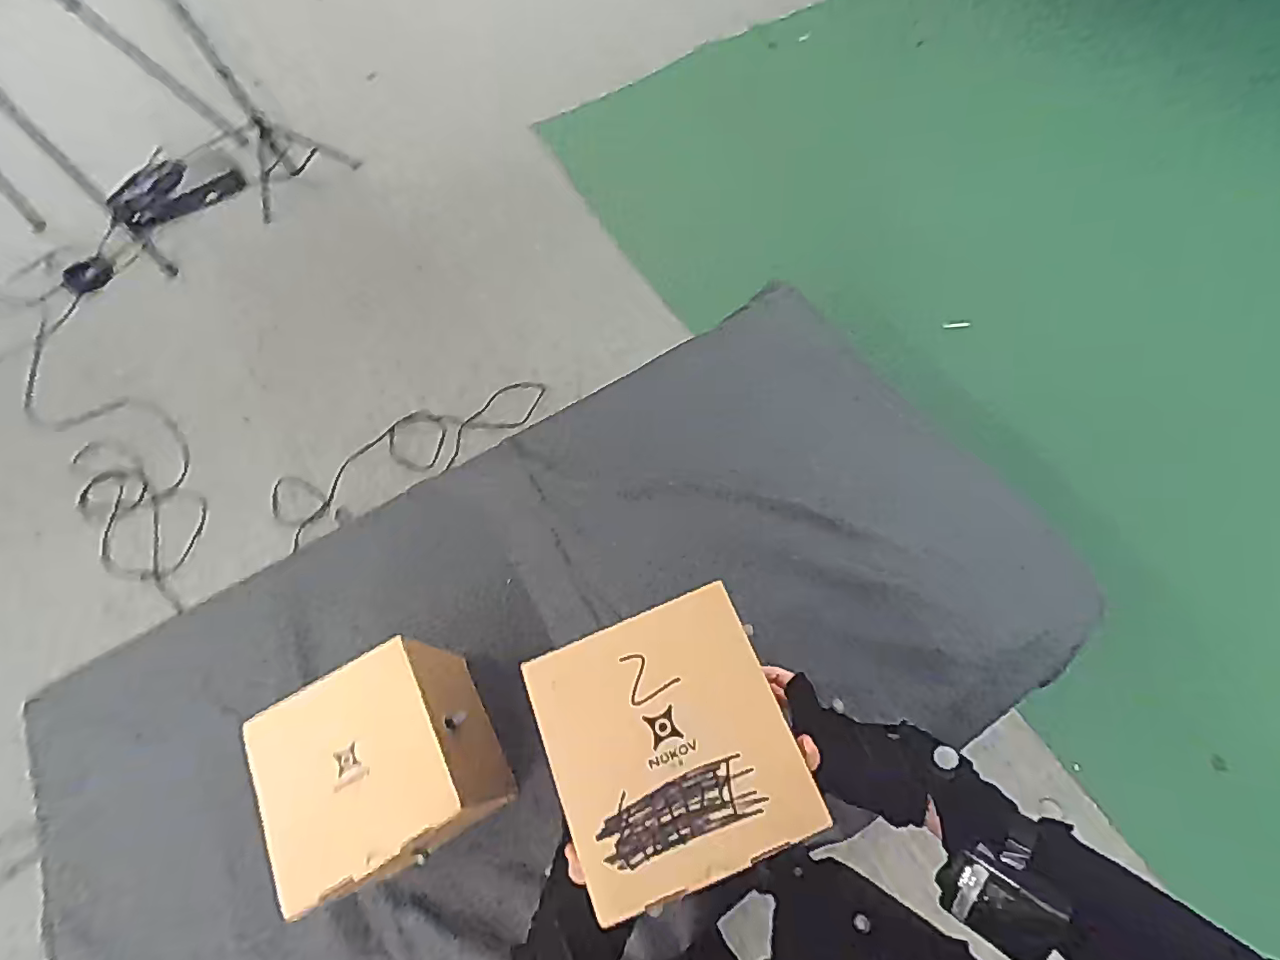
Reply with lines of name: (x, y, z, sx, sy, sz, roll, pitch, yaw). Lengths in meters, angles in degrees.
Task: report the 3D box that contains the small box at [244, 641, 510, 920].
small box: (-0.261, 0.299, 0.567, 0.168, 0.176, 0.179, -30, 66, -9)
